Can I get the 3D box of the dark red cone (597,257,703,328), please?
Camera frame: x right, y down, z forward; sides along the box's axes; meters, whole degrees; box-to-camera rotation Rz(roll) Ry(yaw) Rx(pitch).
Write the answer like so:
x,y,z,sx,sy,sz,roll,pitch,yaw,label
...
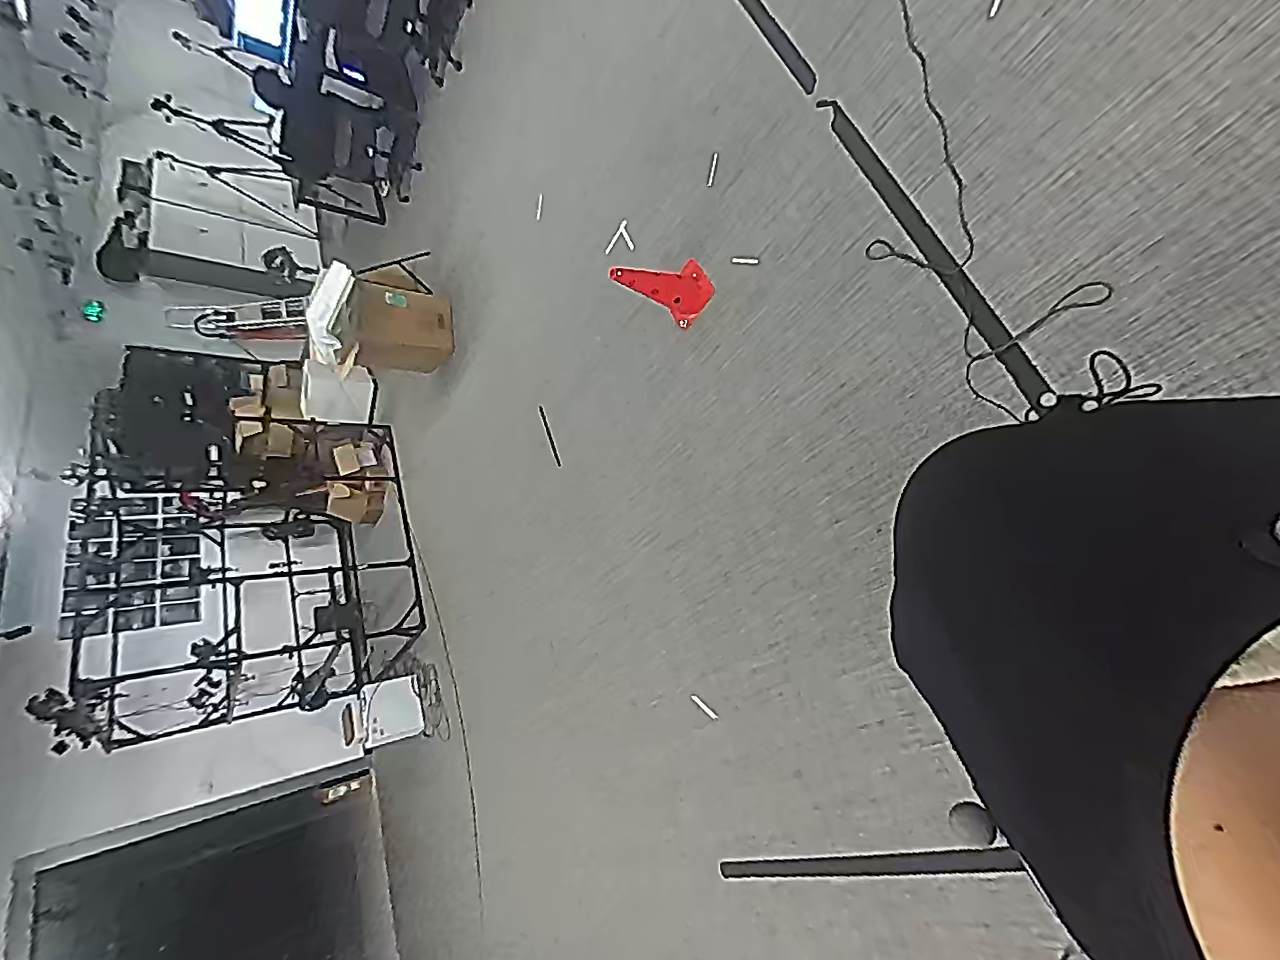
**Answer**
x,y,z,sx,sy,sz,roll,pitch,yaw,label
0.018,-0.693,1.893,0.201,0.394,0.202,-50,54,37,dark red cone
